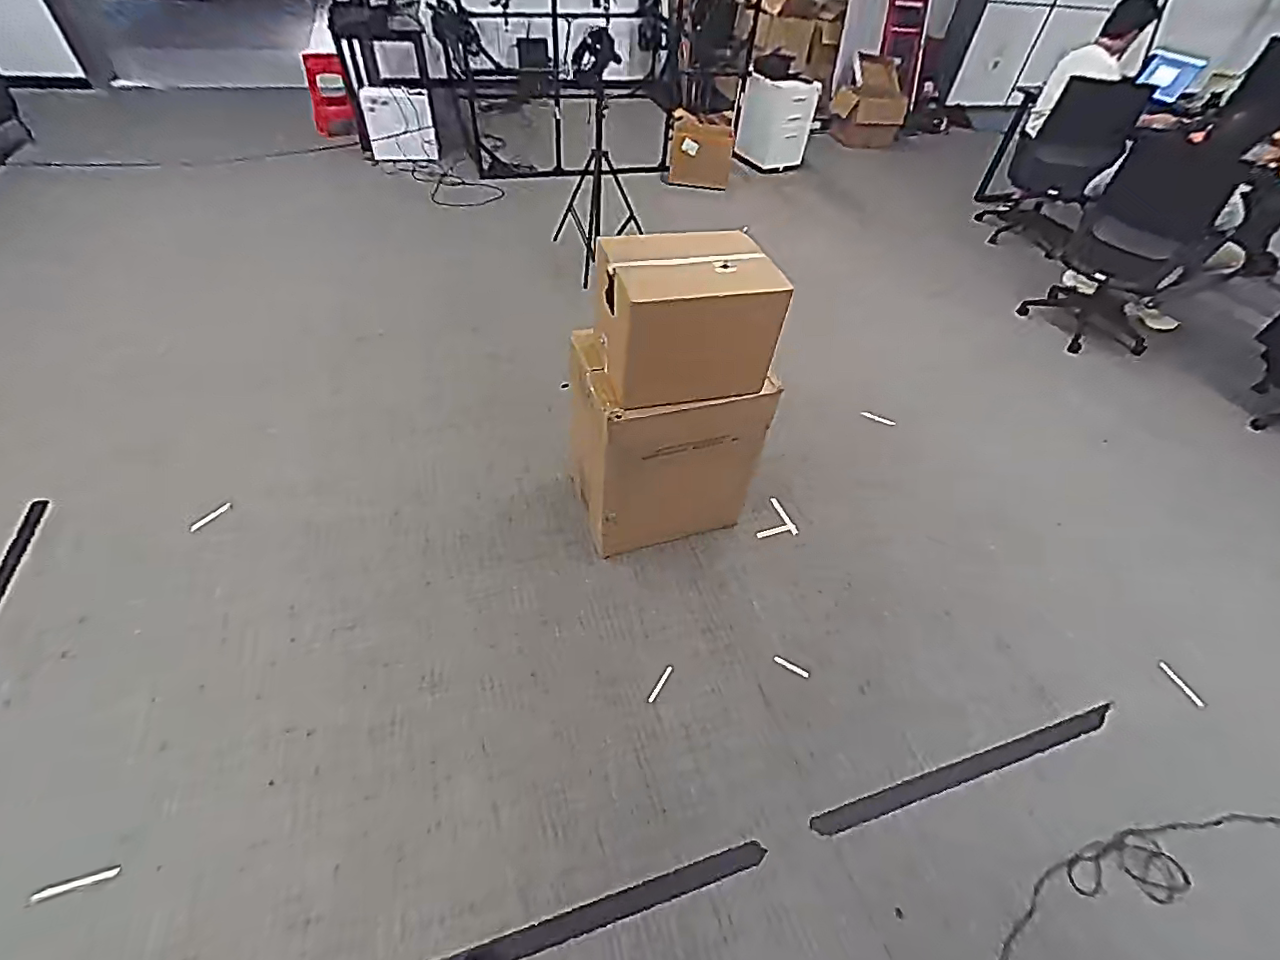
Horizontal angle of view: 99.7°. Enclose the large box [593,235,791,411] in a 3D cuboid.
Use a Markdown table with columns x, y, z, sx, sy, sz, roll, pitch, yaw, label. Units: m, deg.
| x | y | z | sx | sy | sz | roll | pitch | yaw | label |
| --- | --- | --- | --- | --- | --- | --- | --- | --- | --- |
| 0.110 | -0.413 | 1.411 | 0.408 | 0.320 | 0.320 | -10 | 51 | -15 | large box |
